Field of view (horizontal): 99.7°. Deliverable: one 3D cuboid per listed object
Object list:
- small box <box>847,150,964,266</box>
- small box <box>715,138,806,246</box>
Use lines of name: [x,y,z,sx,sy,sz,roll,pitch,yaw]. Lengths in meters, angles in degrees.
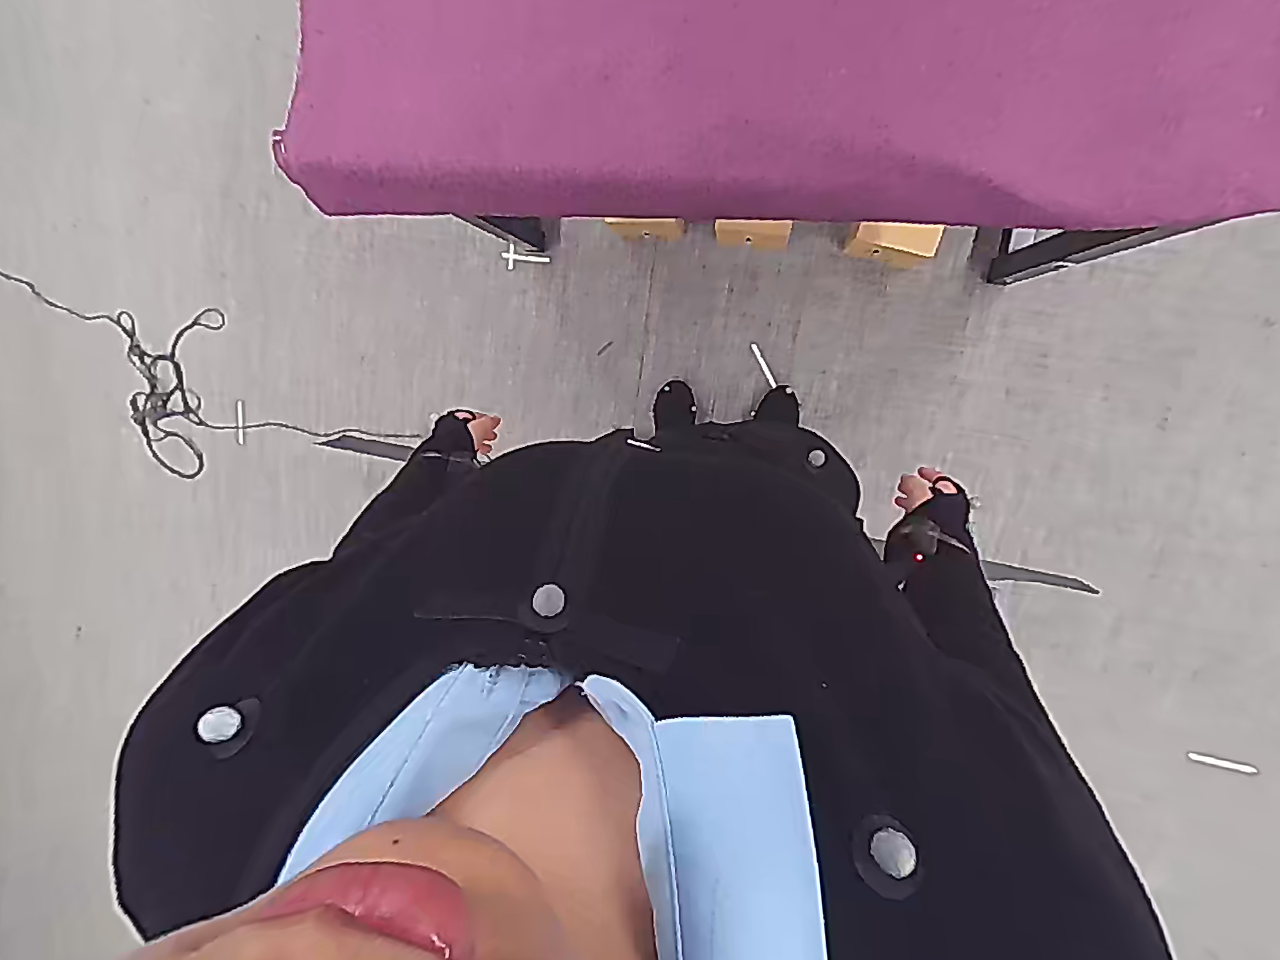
small box: [0.572,-0.590,1.196,0.168,0.176,0.179,18,104,7]
small box: [0.272,-0.648,1.238,0.168,0.176,0.179,11,104,8]
